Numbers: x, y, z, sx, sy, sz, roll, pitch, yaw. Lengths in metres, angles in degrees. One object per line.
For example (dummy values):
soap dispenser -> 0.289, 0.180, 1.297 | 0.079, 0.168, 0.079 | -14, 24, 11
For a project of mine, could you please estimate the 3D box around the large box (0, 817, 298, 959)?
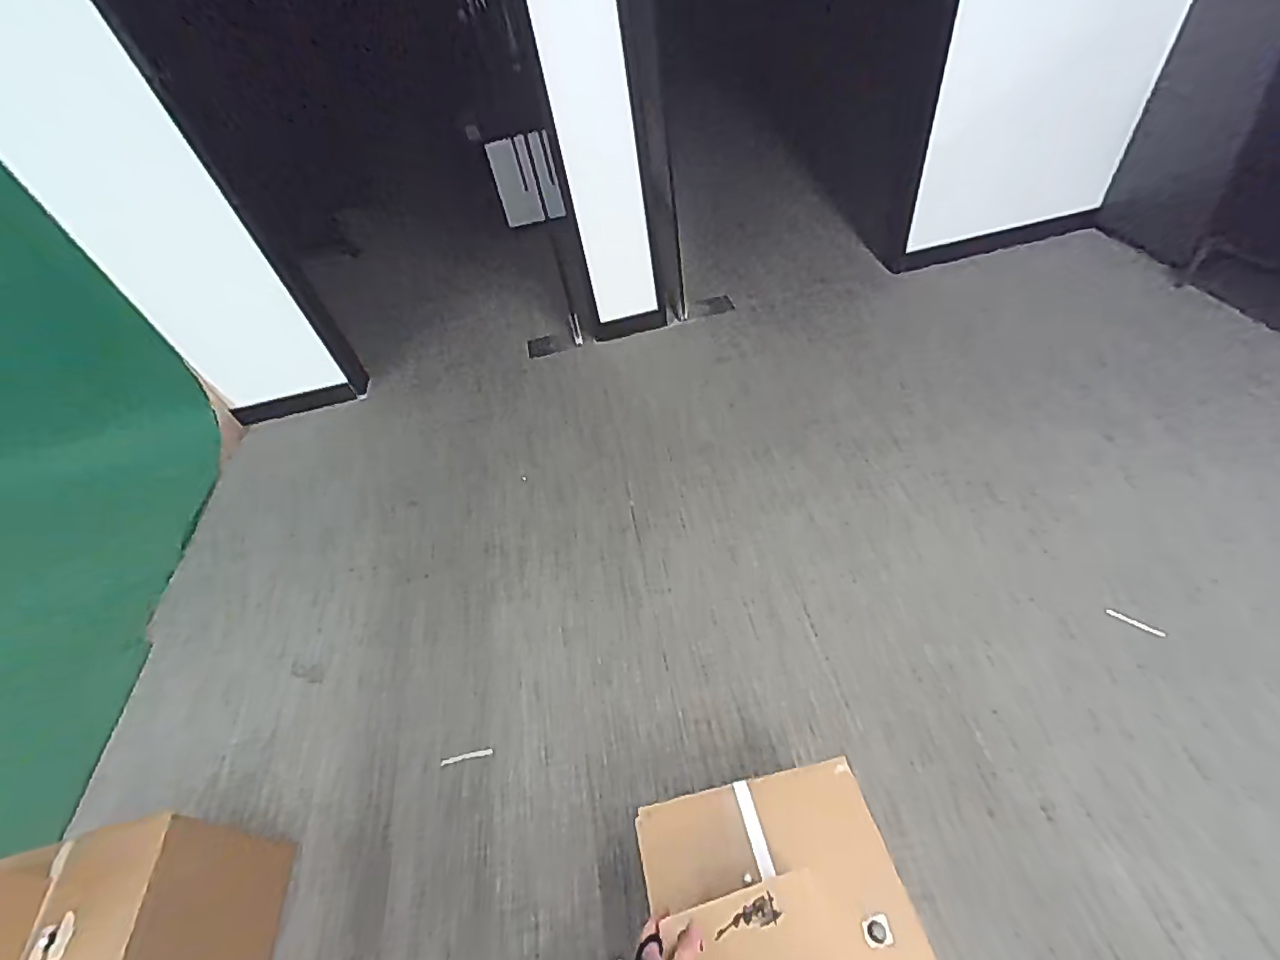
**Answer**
large box -> -0.802, 0.812, 0.825 | 0.320, 0.320, 0.408 | -15, 46, -1

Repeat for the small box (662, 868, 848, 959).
small box -> 0.135, 0.529, 0.549 | 0.168, 0.176, 0.179 | -19, 47, -2
